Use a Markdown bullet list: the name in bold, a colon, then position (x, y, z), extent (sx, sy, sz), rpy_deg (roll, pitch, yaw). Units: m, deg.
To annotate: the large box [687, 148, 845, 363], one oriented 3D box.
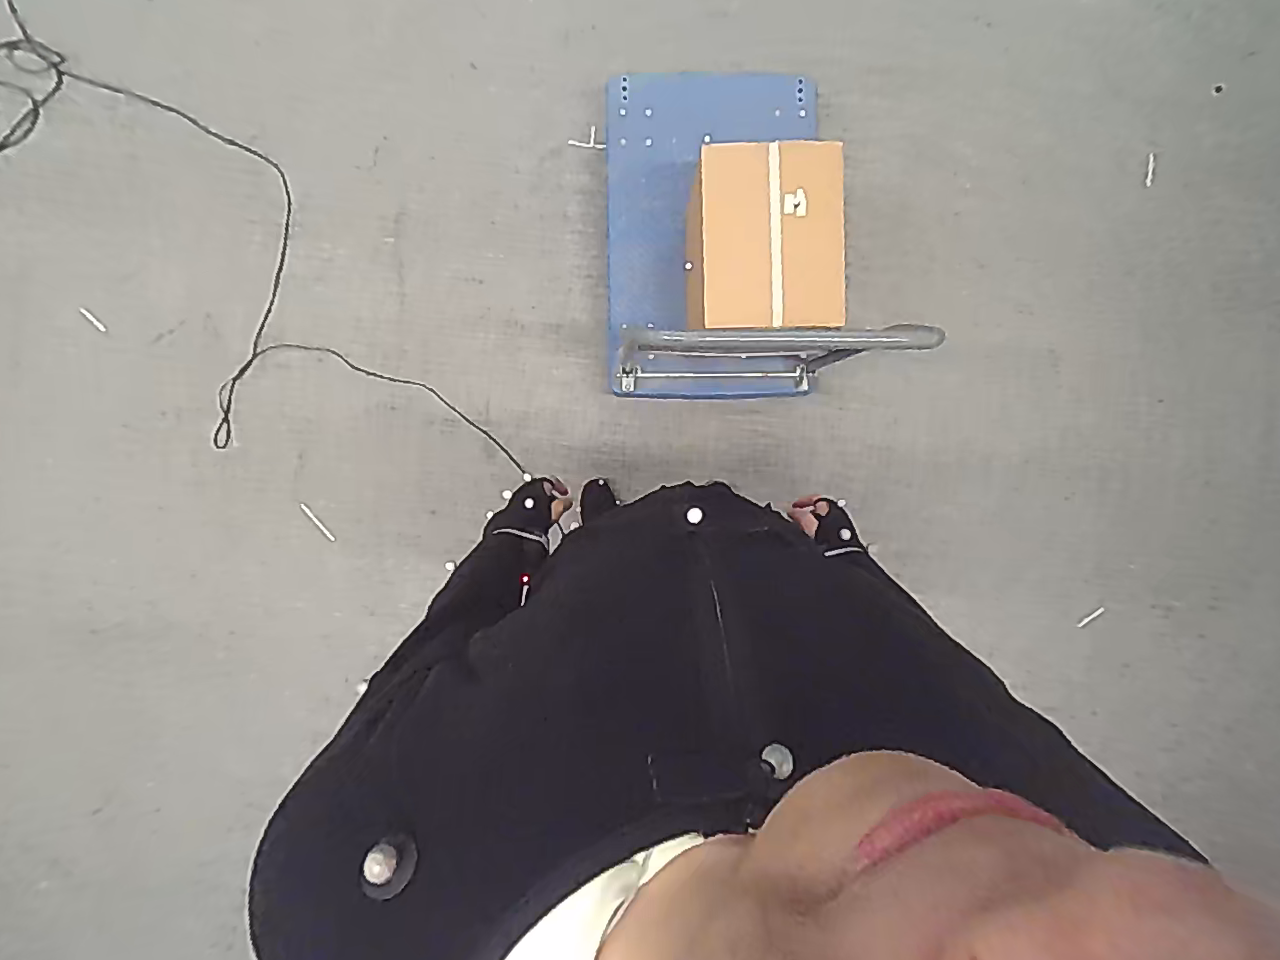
- **large box**: position (0.286, -0.522, 1.326), extent (0.320, 0.320, 0.408), rpy_deg (-1, 90, -3)
